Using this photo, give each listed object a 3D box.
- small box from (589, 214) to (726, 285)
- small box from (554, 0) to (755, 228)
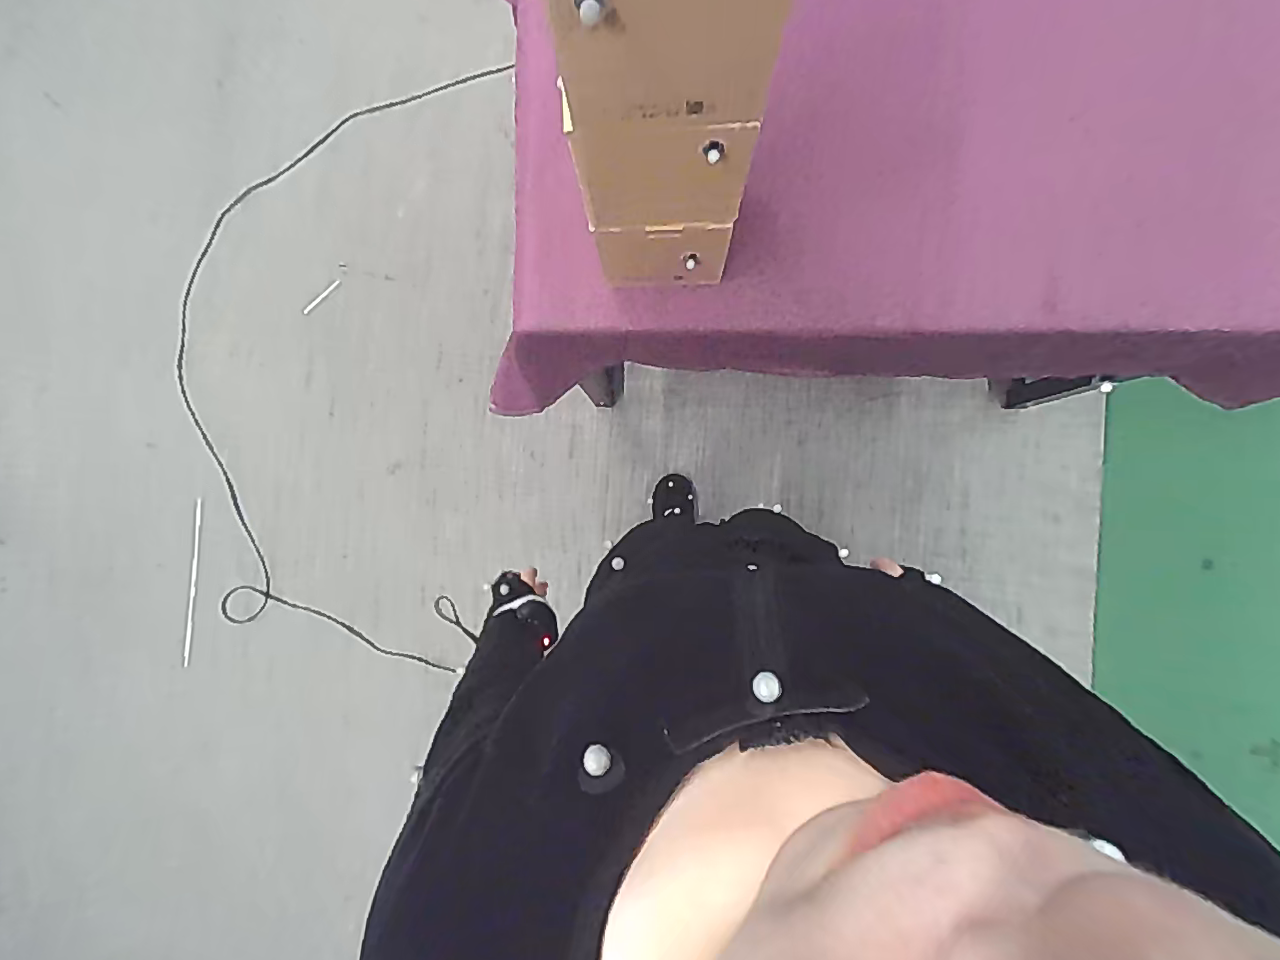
[{"bbox_3d":[0.024,-0.372,0.719,0.168,0.176,0.179,-1,87,1],"label":"small box"},{"bbox_3d":[0.014,-0.380,0.558,0.179,0.176,0.168,-3,87,1],"label":"small box"}]
